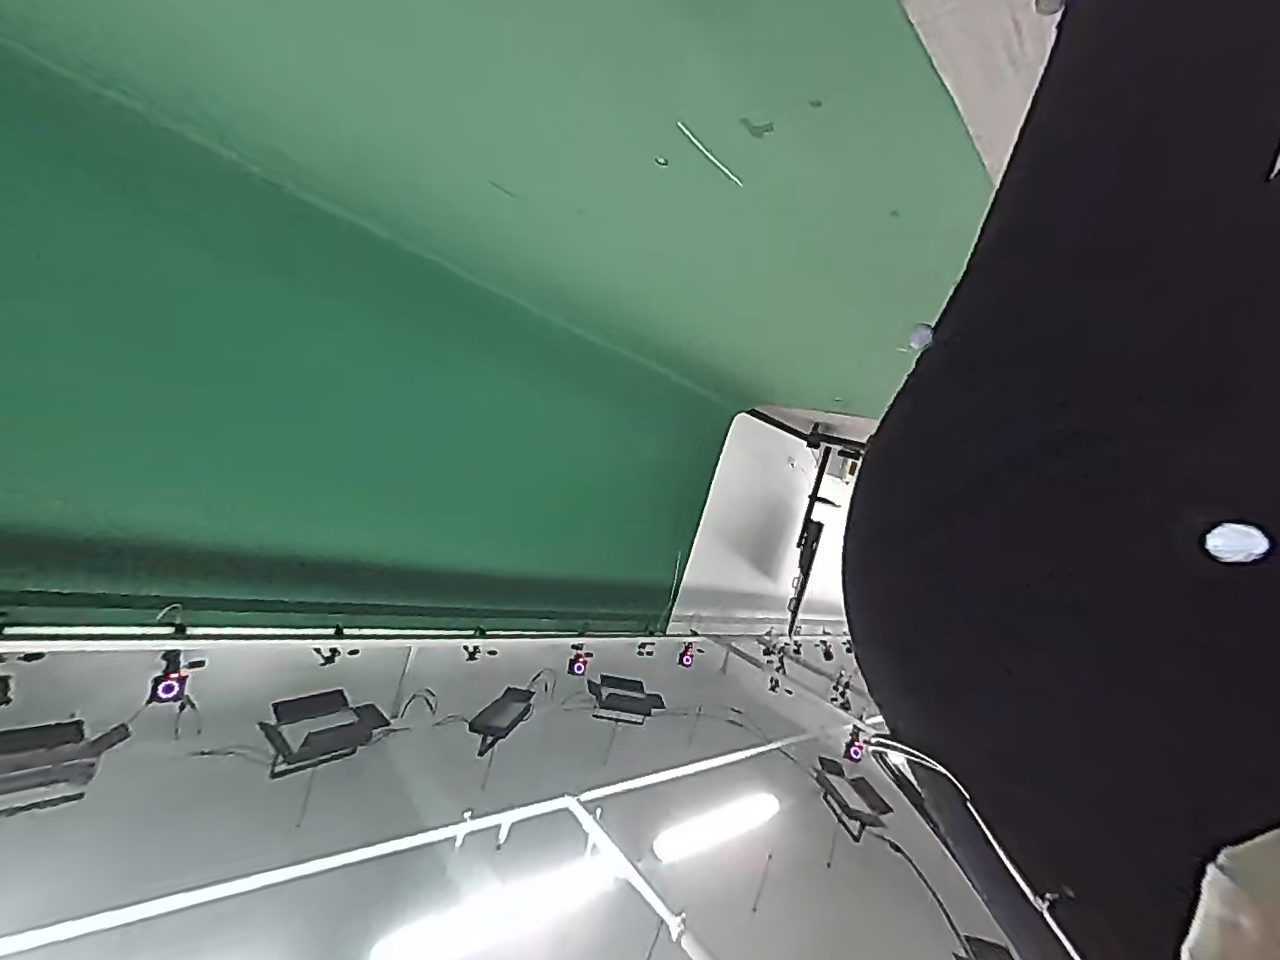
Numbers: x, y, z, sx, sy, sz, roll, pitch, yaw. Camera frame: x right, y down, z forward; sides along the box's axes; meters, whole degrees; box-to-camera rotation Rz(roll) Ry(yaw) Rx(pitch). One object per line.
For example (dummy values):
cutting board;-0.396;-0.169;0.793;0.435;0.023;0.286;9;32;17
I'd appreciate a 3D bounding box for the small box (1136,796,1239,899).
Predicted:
small box;1.622;1.077;1.605;0.168;0.176;0.179;14;-177;-42
